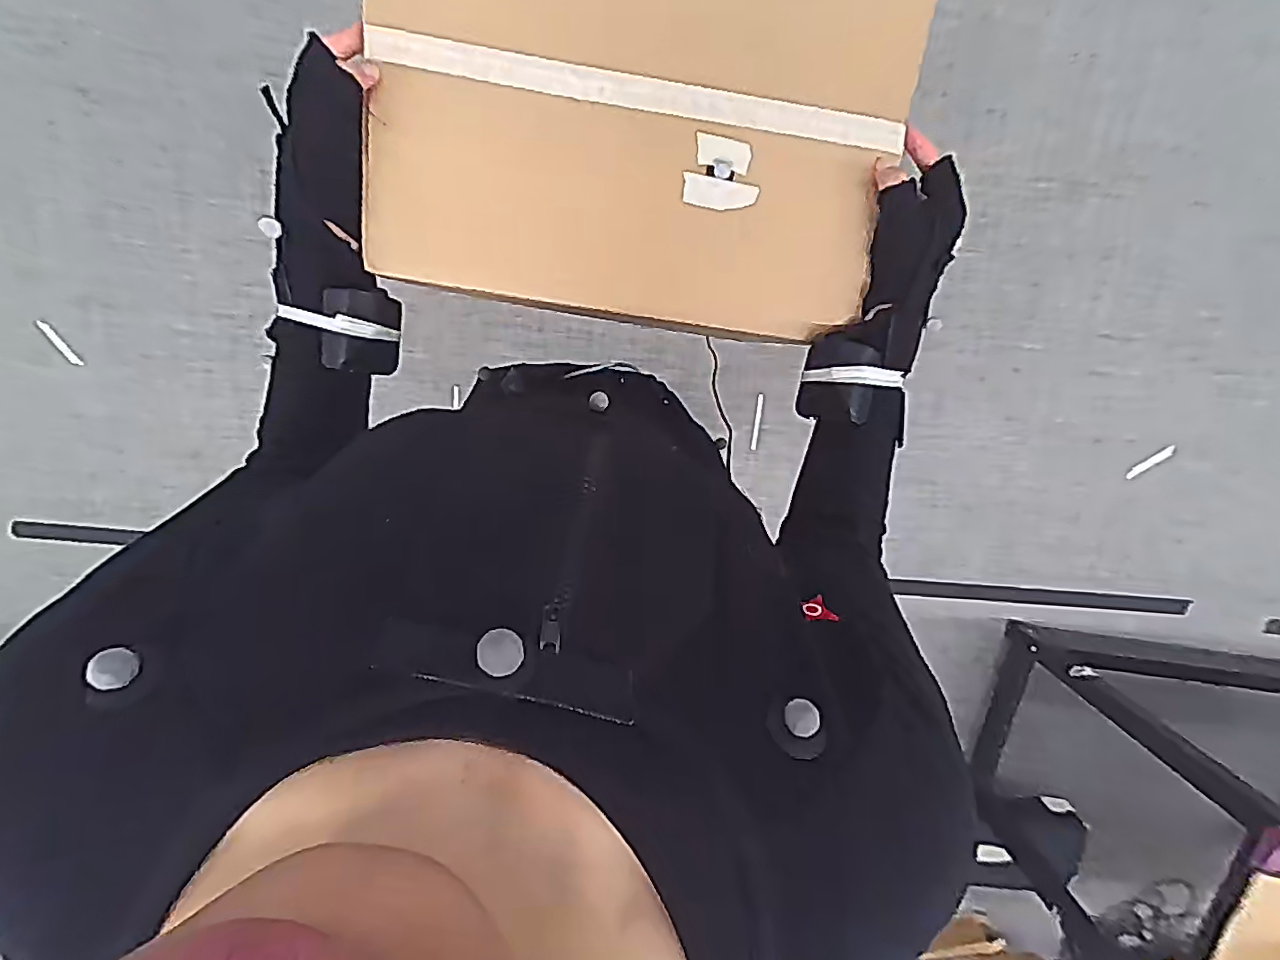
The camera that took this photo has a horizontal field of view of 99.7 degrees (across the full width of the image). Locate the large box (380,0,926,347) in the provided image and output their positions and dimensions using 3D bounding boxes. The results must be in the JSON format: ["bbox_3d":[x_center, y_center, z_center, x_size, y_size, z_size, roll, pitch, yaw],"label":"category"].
[{"bbox_3d":[-0.004,-0.324,0.559,0.408,0.320,0.320,8,106,-5],"label":"large box"}]
